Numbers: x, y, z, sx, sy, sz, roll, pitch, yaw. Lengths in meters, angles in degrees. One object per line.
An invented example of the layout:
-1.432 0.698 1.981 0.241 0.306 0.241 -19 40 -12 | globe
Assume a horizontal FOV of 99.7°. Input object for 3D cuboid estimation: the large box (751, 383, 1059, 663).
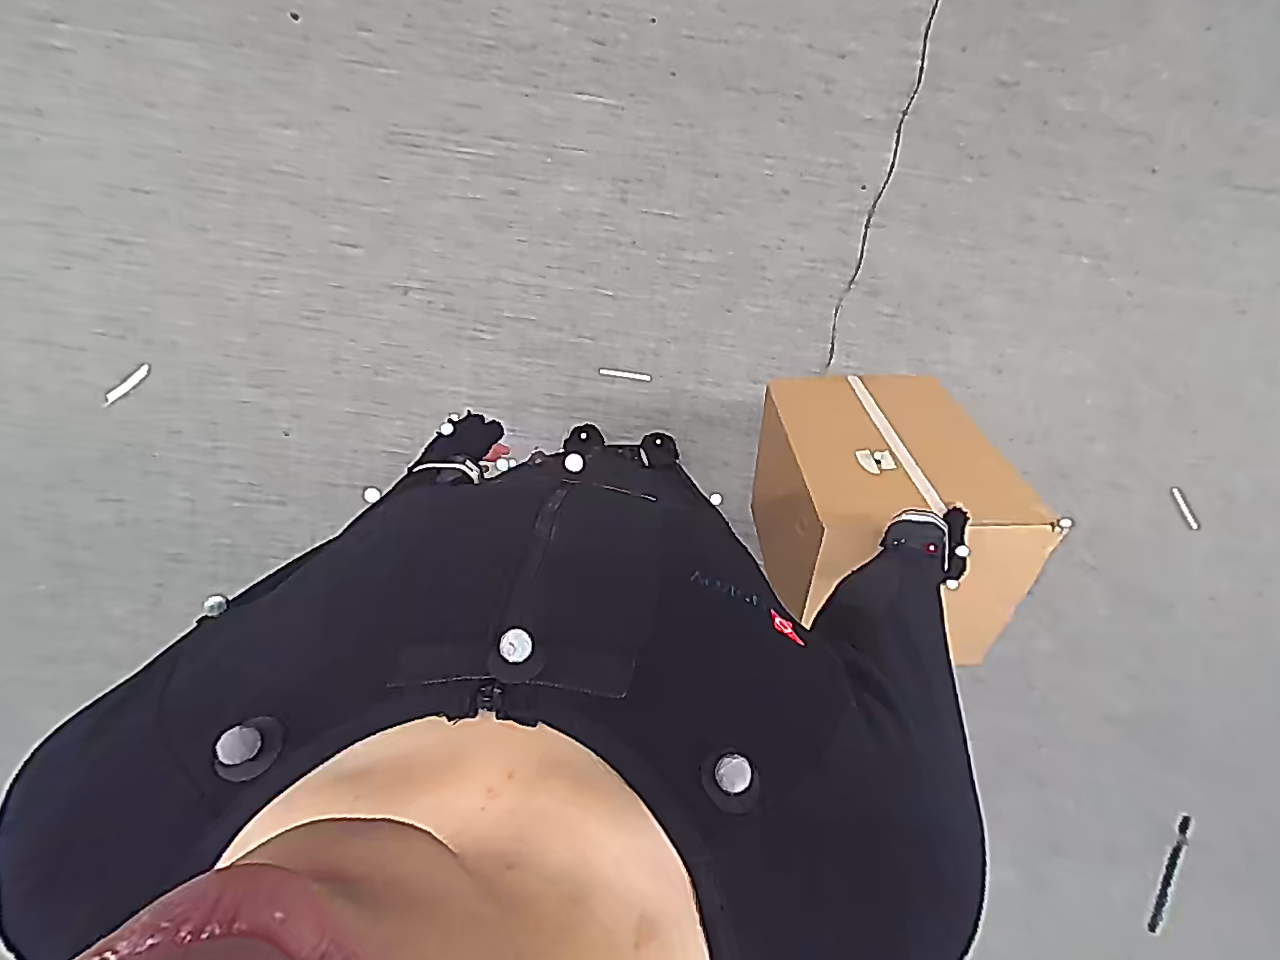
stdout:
0.400 0.062 0.958 0.320 0.408 0.320 -2 129 1 | large box
